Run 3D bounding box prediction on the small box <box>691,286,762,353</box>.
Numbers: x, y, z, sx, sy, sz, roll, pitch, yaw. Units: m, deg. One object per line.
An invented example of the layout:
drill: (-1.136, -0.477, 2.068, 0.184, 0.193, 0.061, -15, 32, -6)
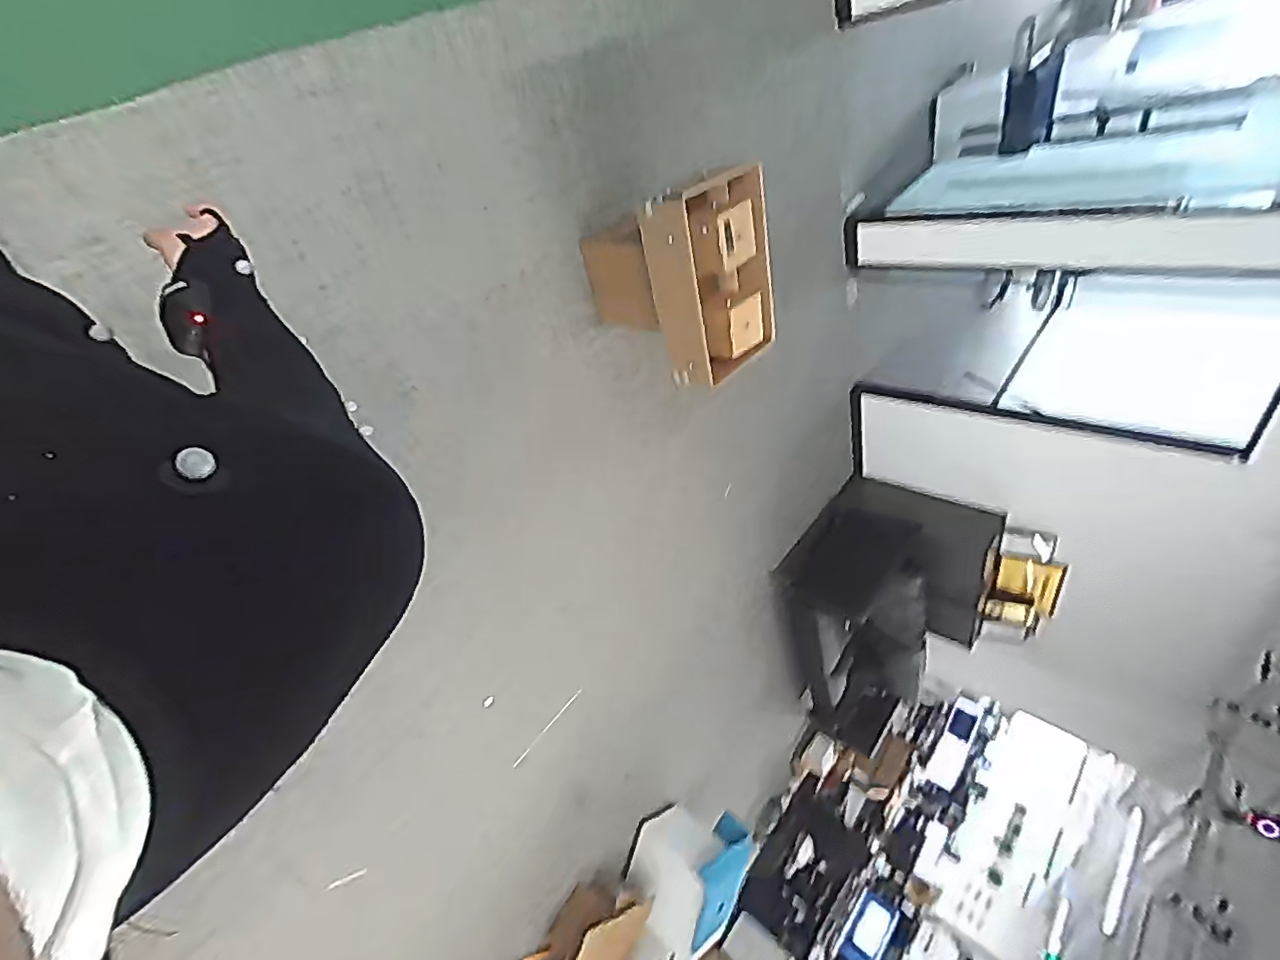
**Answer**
small box: (0.302, -0.560, 1.871, 0.179, 0.176, 0.168, -37, 131, -30)
